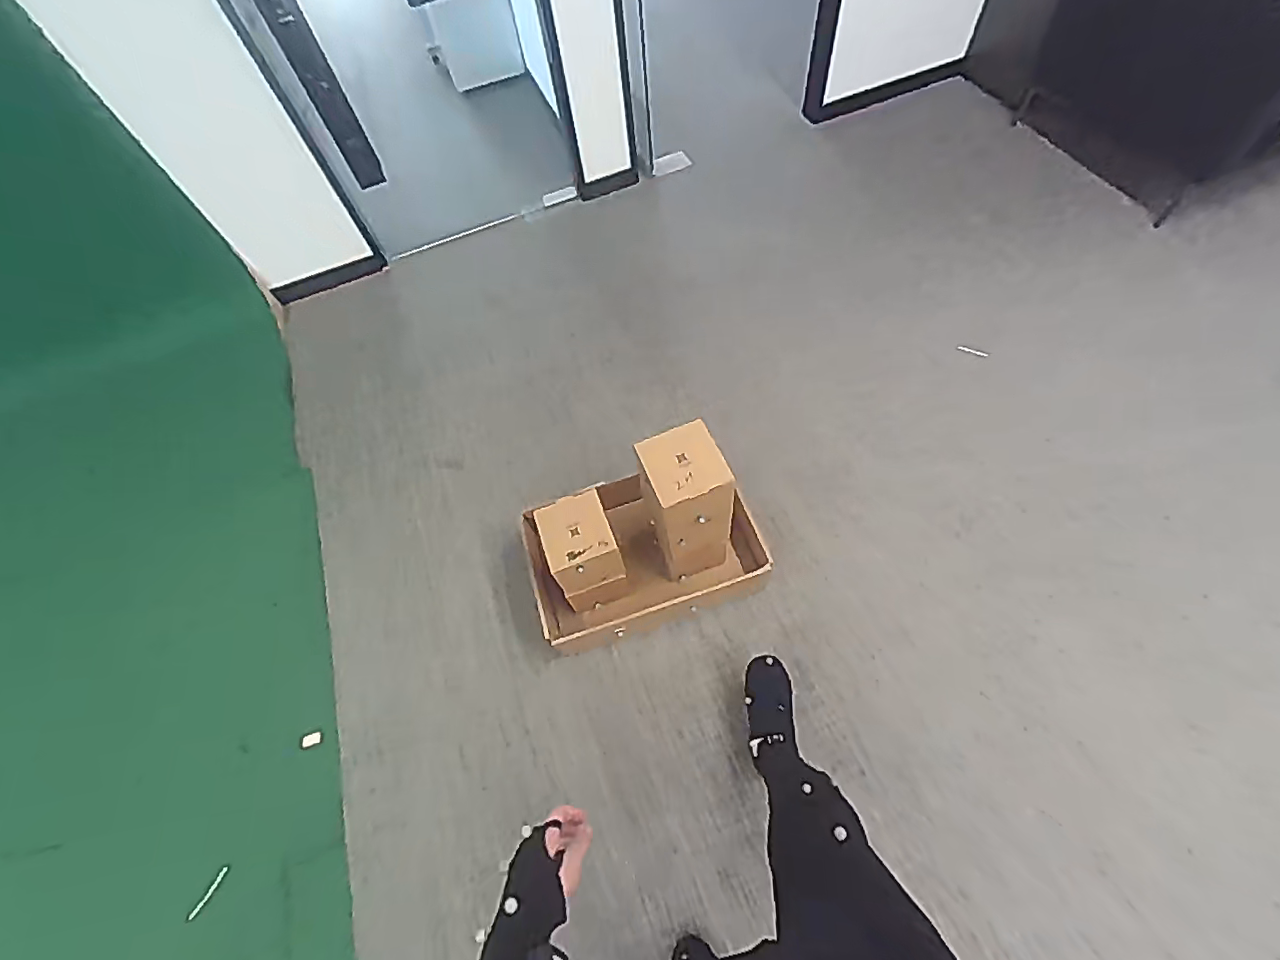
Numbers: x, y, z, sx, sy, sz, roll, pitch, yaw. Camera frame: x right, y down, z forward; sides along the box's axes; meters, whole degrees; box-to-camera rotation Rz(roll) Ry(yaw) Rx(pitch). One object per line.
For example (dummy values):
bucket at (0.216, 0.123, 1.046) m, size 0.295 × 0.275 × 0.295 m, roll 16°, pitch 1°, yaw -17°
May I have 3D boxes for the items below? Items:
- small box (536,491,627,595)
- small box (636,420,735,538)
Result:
small box at (-0.143, 0.160, 1.351) m, size 0.168 × 0.176 × 0.179 m, roll -21°, pitch 59°, yaw -4°
small box at (0.102, 0.001, 1.219) m, size 0.168 × 0.176 × 0.179 m, roll -21°, pitch 60°, yaw -4°
